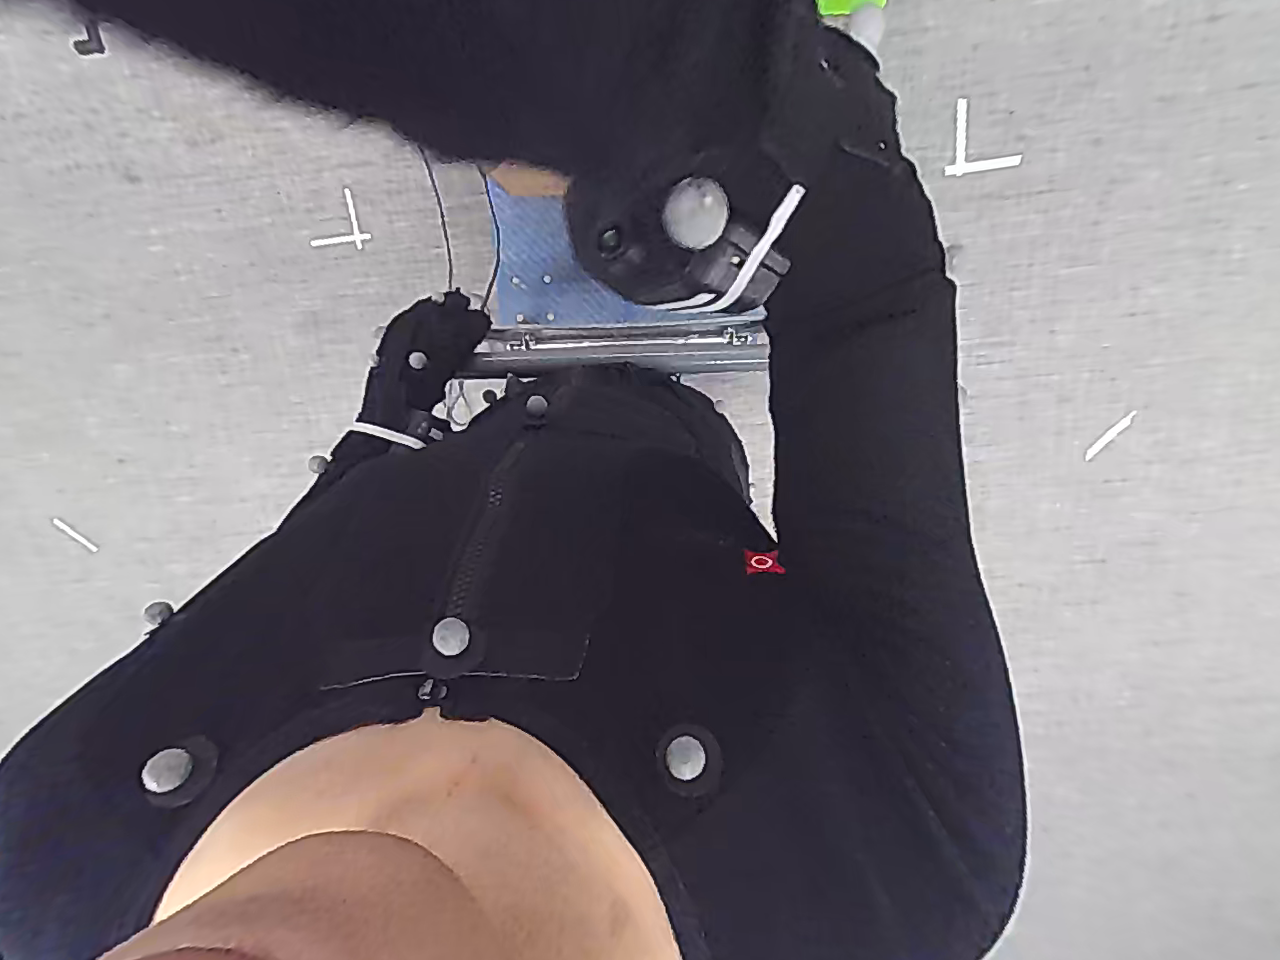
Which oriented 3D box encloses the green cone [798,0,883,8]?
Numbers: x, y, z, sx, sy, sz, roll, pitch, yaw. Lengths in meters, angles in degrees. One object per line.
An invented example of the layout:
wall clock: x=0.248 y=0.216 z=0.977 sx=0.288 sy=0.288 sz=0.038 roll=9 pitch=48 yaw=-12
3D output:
green cone: x=0.438 y=-1.086 z=0.995 sx=0.202 sy=0.368 sz=0.200 roll=-1 pitch=106 yaw=0

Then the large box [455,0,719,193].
large box: x=-0.073 y=-0.713 z=0.963 sx=0.408 sy=0.320 sz=0.320 roll=0 pitch=106 yaw=2
